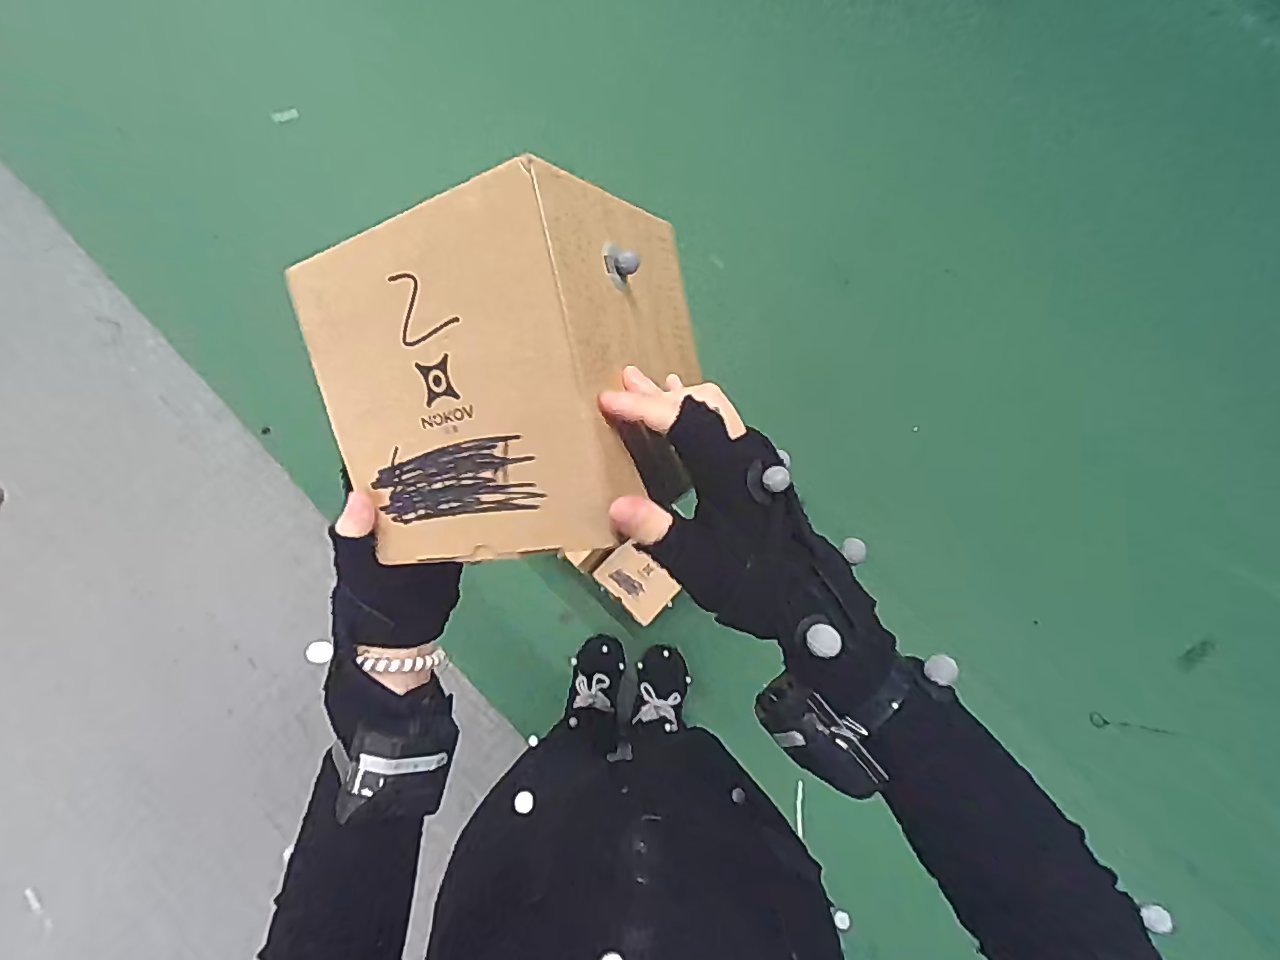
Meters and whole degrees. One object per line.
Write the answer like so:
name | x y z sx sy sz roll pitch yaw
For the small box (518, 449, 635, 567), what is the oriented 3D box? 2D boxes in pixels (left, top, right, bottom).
small box | -0.127 0.066 1.142 0.168 0.176 0.179 41 81 7
